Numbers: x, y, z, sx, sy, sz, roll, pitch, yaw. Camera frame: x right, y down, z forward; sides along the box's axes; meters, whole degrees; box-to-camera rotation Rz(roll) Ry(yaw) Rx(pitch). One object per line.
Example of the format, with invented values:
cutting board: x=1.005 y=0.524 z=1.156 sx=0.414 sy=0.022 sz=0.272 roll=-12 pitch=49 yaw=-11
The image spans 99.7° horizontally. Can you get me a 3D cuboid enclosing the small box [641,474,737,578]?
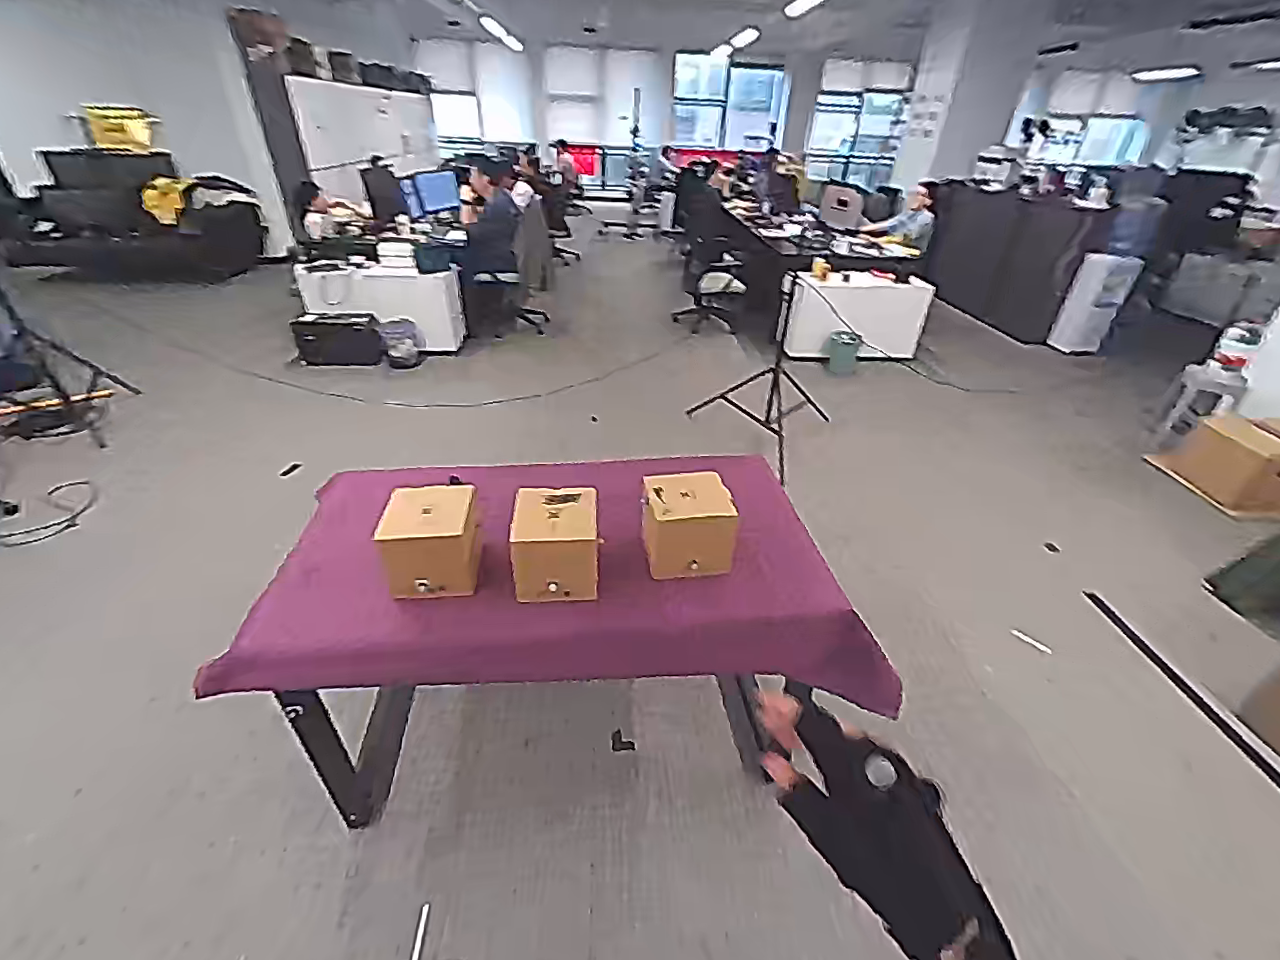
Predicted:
small box: x=0.102 y=0.103 z=1.215 sx=0.179 sy=0.176 sz=0.168 roll=-3 pitch=33 yaw=-8

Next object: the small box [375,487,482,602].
small box: x=-0.434 y=0.133 z=1.141 sx=0.168 sy=0.176 sz=0.179 roll=-4 pitch=34 yaw=-7

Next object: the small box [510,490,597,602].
small box: x=-0.176 y=0.138 z=1.145 sx=0.168 sy=0.176 sz=0.179 roll=-1 pitch=34 yaw=-5
